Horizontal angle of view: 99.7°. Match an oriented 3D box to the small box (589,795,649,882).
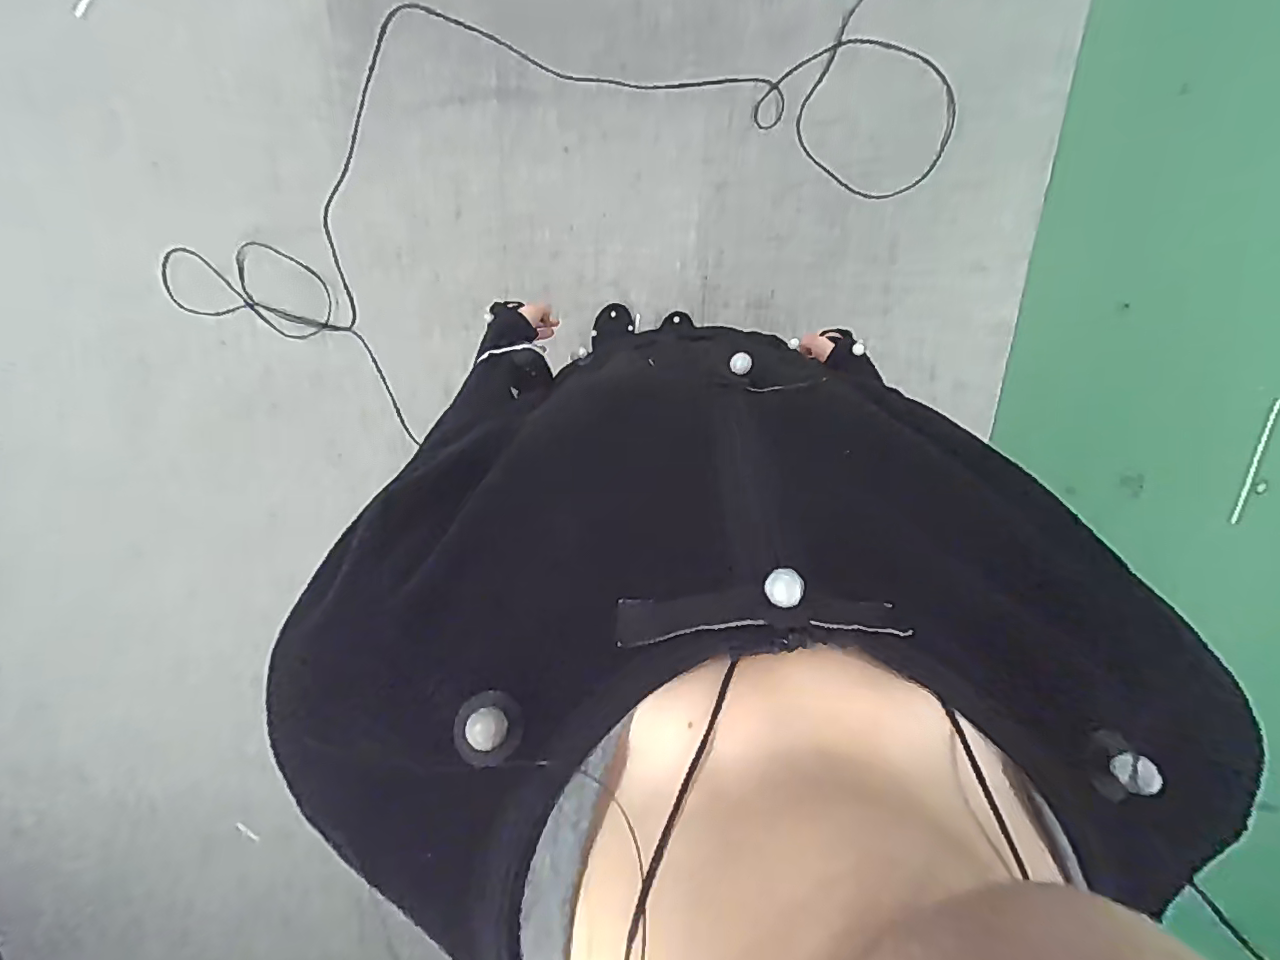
[{"bbox_3d":[-0.069,1.119,1.697,0.179,0.176,0.168,1,105,-3],"label":"small box"}]
